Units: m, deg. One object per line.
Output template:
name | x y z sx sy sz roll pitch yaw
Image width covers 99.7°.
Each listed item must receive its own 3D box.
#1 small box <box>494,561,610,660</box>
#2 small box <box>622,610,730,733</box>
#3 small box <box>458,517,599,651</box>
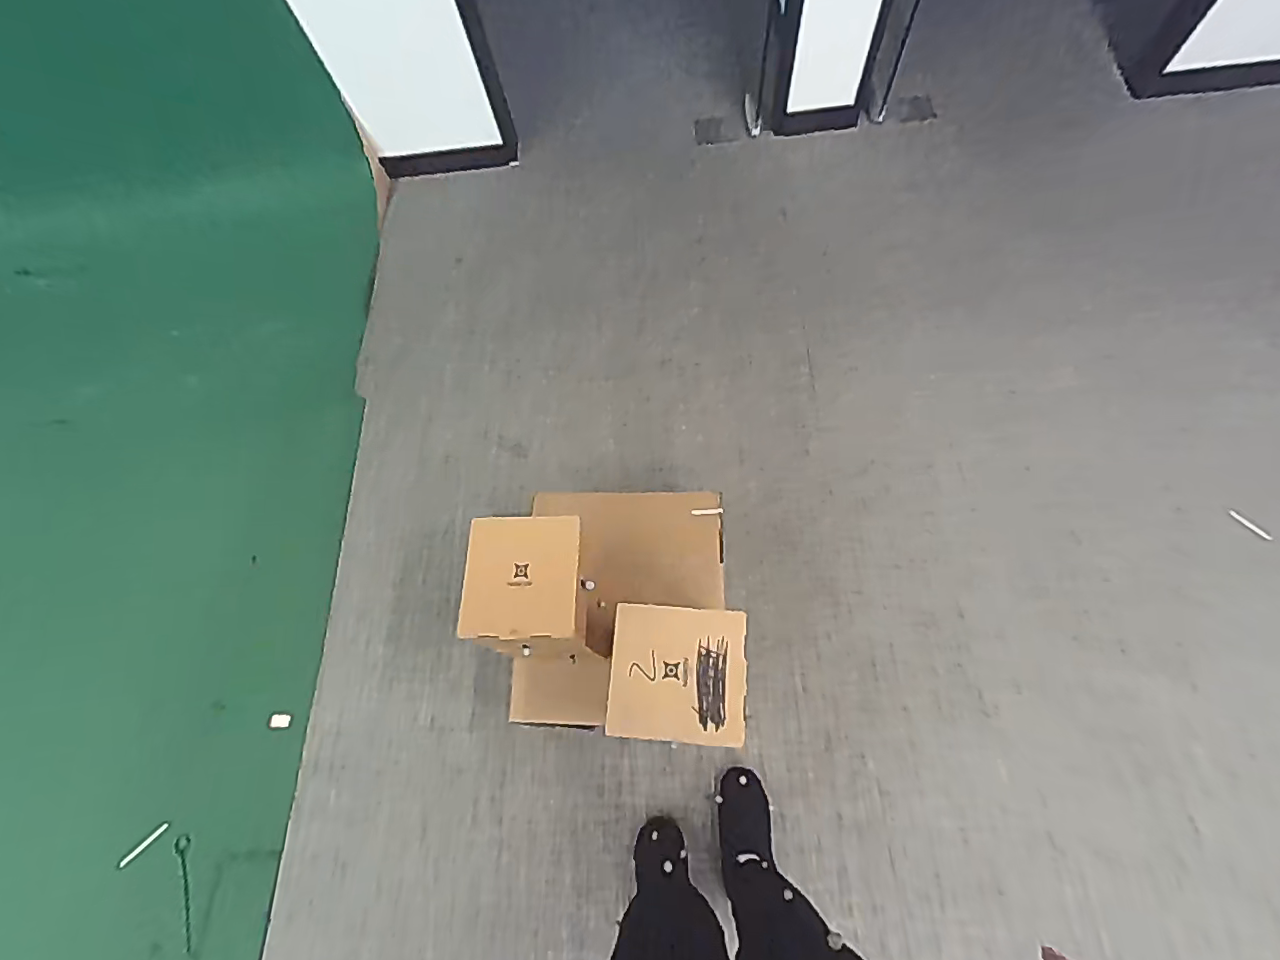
small box | -0.150 0.232 0.988 0.168 0.176 0.179 0 66 6
small box | 0.065 0.330 0.923 0.168 0.176 0.179 1 66 6
small box | -0.160 0.165 0.839 0.168 0.176 0.179 0 69 5
